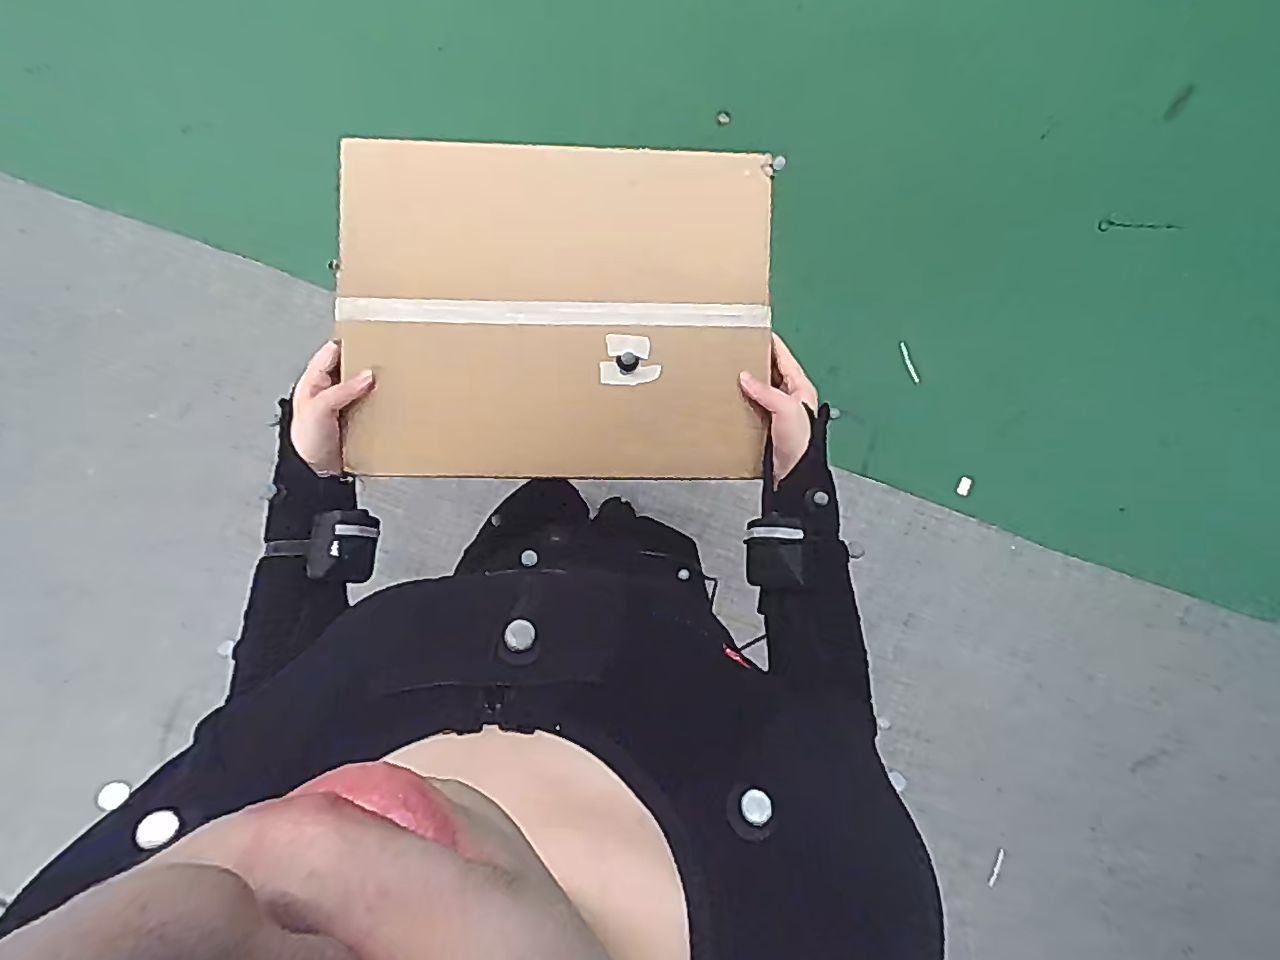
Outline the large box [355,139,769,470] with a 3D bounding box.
[{"bbox_3d":[-0.082,-0.170,0.670,0.408,0.320,0.320,0,92,-4],"label":"large box"}]
